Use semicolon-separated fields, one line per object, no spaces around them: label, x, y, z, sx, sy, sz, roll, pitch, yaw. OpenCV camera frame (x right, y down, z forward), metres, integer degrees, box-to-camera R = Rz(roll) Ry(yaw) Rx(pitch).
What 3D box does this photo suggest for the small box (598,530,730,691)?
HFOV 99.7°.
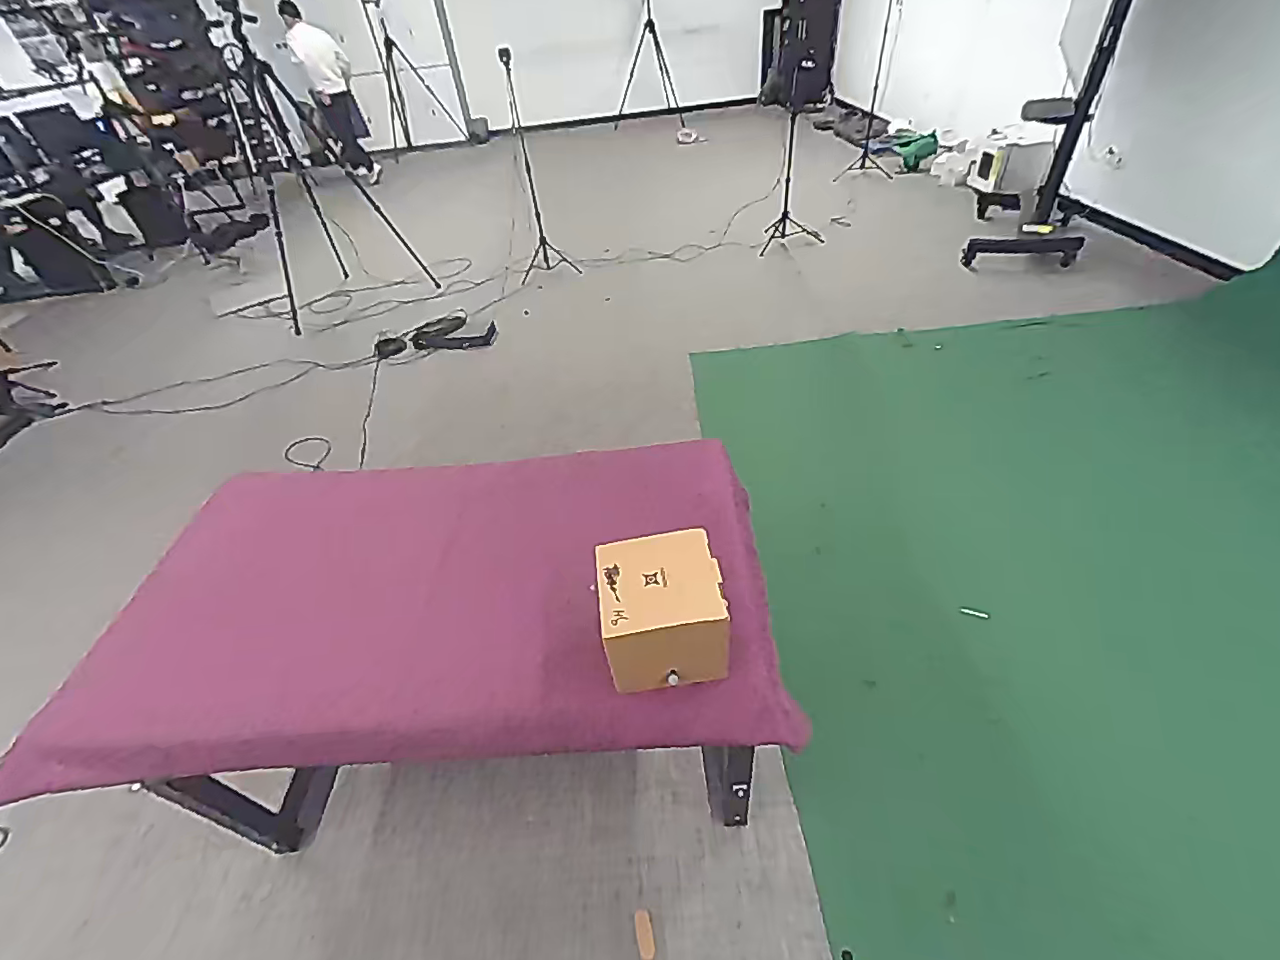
small box;0.035;0.203;0.834;0.179;0.176;0.168;-9;42;0
